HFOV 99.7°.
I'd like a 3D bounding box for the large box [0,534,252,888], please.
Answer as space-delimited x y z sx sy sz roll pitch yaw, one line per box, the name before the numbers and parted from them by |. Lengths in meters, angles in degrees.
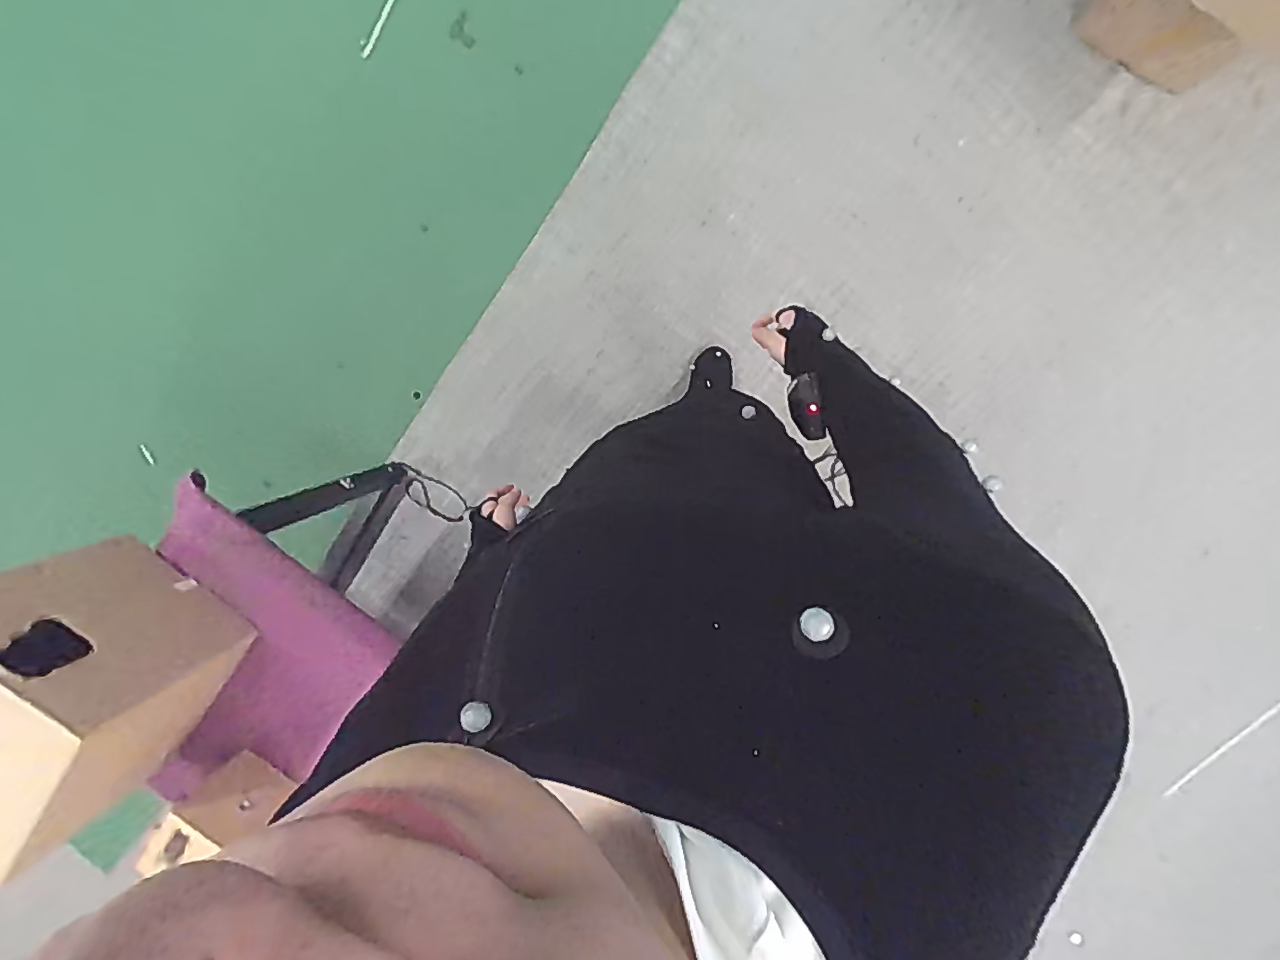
large box | -0.990 0.370 0.933 0.320 0.320 0.408 38 103 -4
